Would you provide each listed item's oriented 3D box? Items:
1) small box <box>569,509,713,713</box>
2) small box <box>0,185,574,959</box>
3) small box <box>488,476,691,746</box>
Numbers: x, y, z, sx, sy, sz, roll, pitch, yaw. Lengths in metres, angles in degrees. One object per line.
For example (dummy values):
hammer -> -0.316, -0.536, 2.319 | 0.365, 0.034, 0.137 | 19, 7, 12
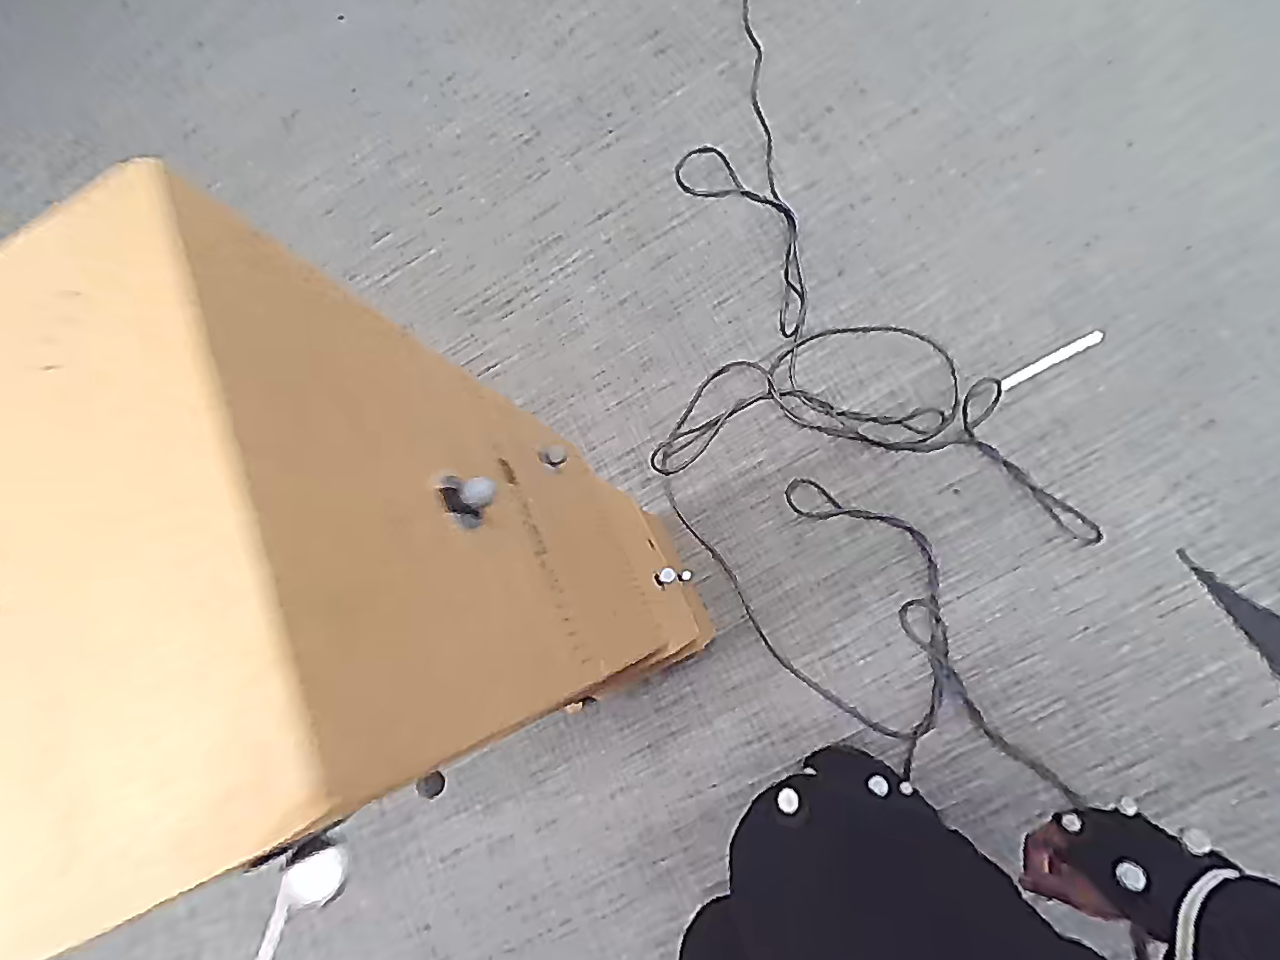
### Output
small box -> -0.023, 0.156, 0.671 | 0.168, 0.176, 0.179 | -29, 75, 7
small box -> -0.143, 0.045, 0.206 | 0.179, 0.176, 0.168 | -28, 73, 8
small box -> -0.063, 0.117, 0.519 | 0.179, 0.176, 0.168 | -29, 74, 7
